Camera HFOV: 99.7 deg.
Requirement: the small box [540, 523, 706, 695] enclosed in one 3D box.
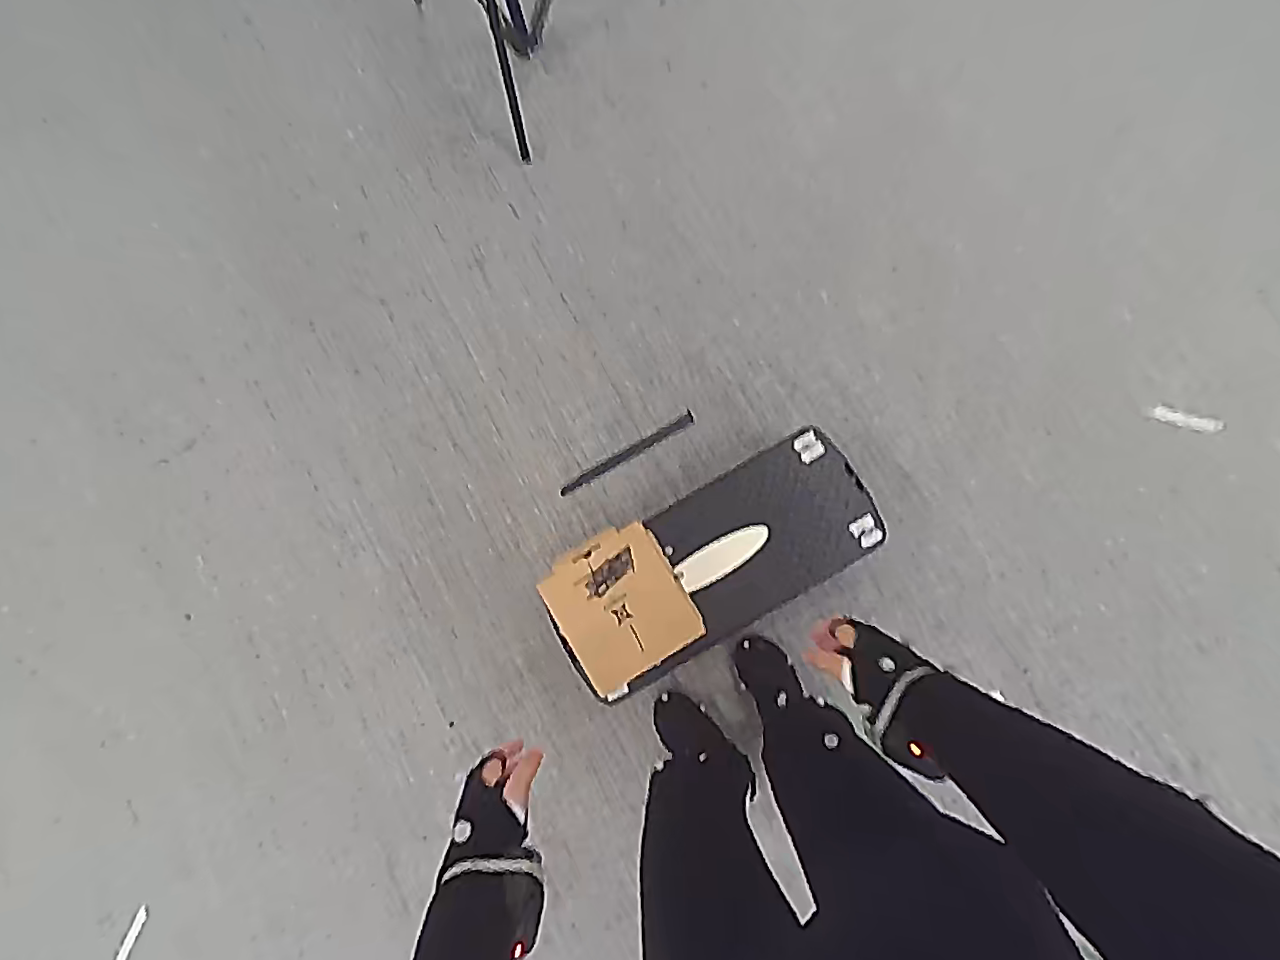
[{"bbox_3d":[-0.021,0.184,0.803,0.168,0.176,0.179,-32,81,-2],"label":"small box"}]
